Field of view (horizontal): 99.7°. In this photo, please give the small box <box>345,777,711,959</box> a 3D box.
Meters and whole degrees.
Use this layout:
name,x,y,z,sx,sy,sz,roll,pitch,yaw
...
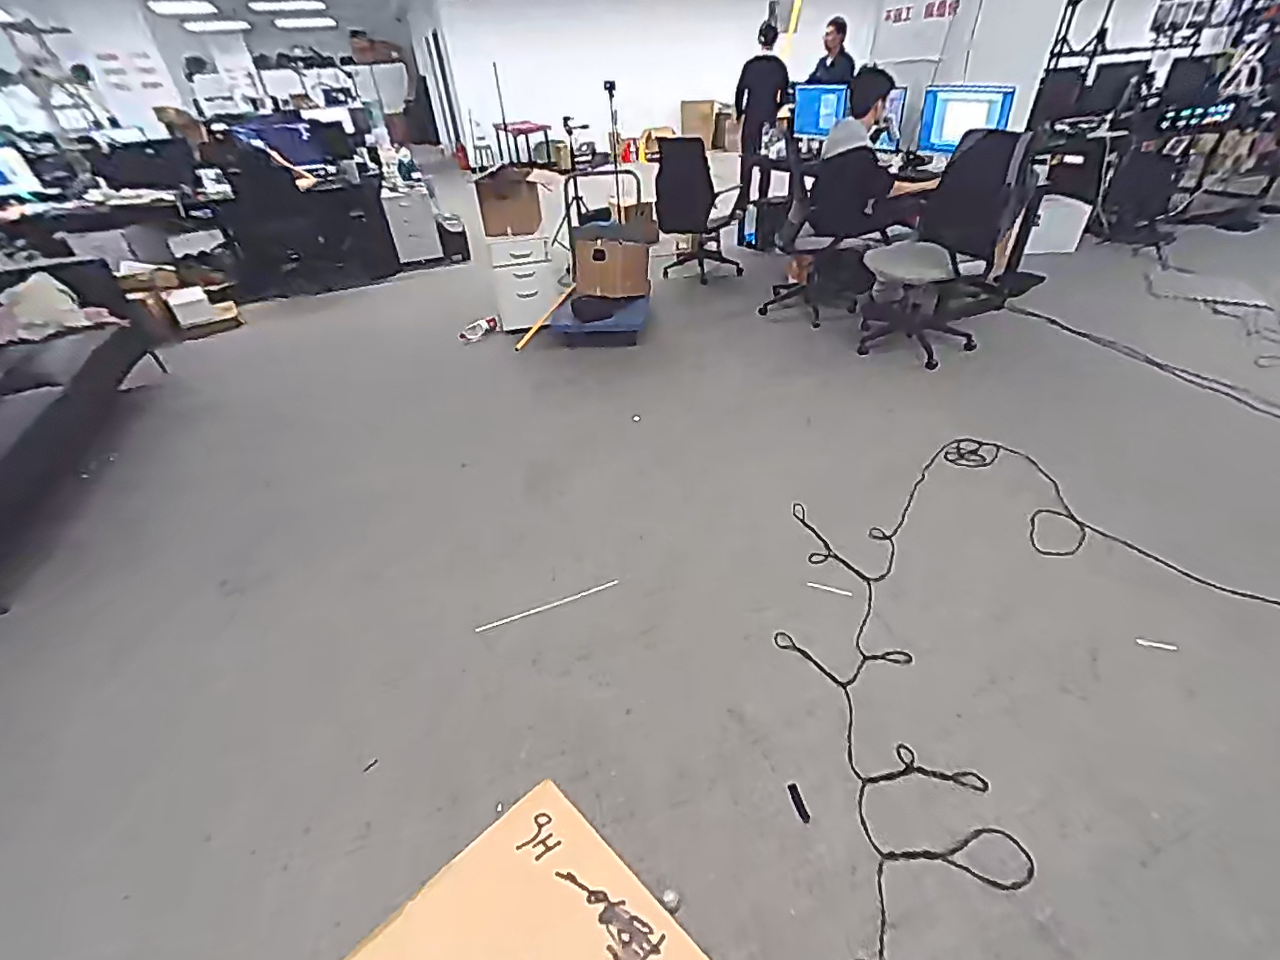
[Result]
name,x,y,z,sx,sy,sz,roll,pitch,yaw
small box,-0.056,0.328,0.306,0.168,0.176,0.179,23,44,40
